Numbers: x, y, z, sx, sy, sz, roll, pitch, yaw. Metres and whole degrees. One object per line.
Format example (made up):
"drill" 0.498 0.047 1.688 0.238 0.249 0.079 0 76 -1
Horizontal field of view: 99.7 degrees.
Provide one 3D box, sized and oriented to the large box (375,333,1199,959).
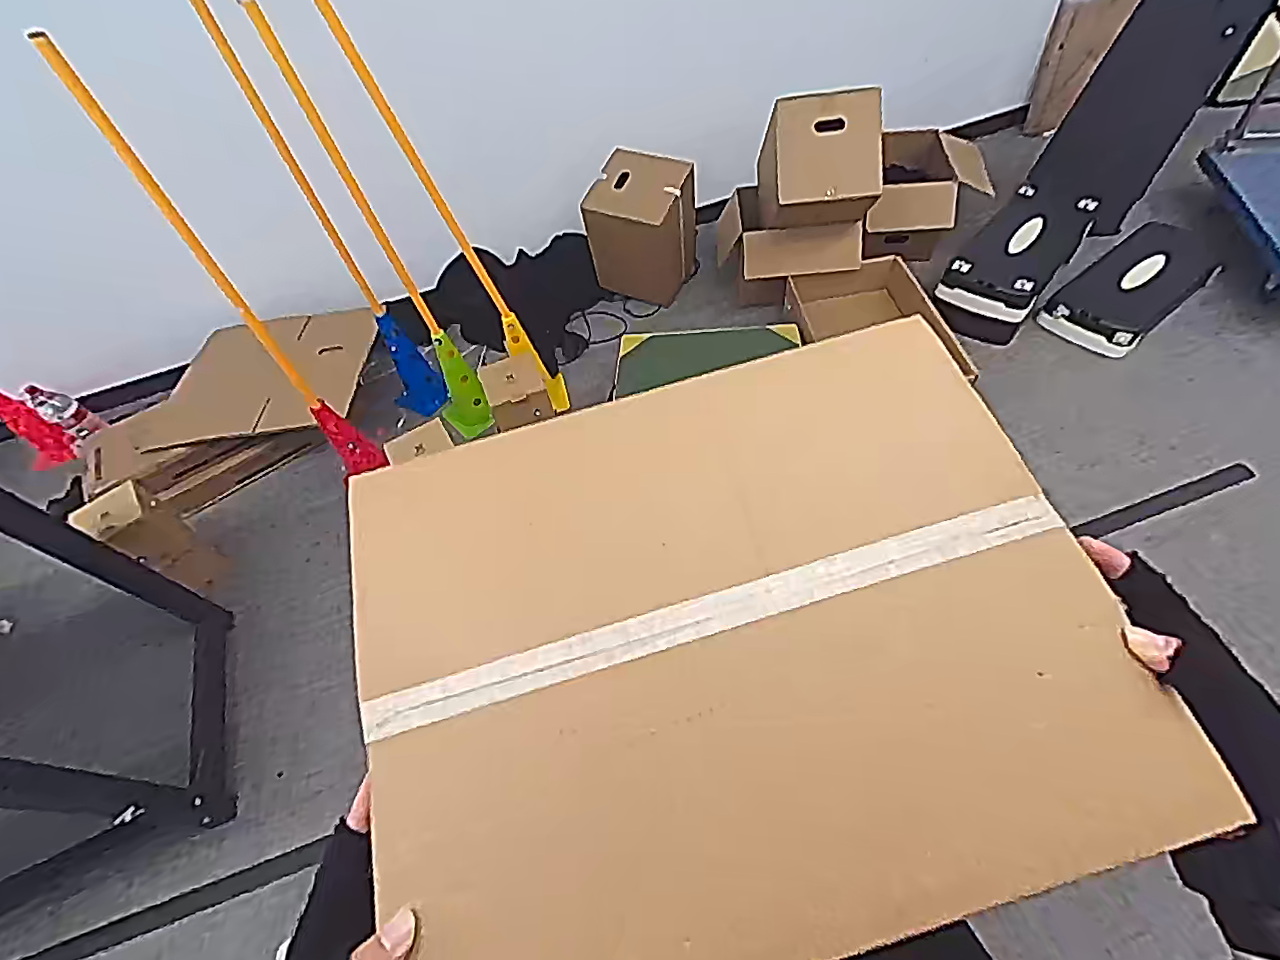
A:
"large box" 0.059 0.144 0.454 0.408 0.320 0.320 -17 65 -2
